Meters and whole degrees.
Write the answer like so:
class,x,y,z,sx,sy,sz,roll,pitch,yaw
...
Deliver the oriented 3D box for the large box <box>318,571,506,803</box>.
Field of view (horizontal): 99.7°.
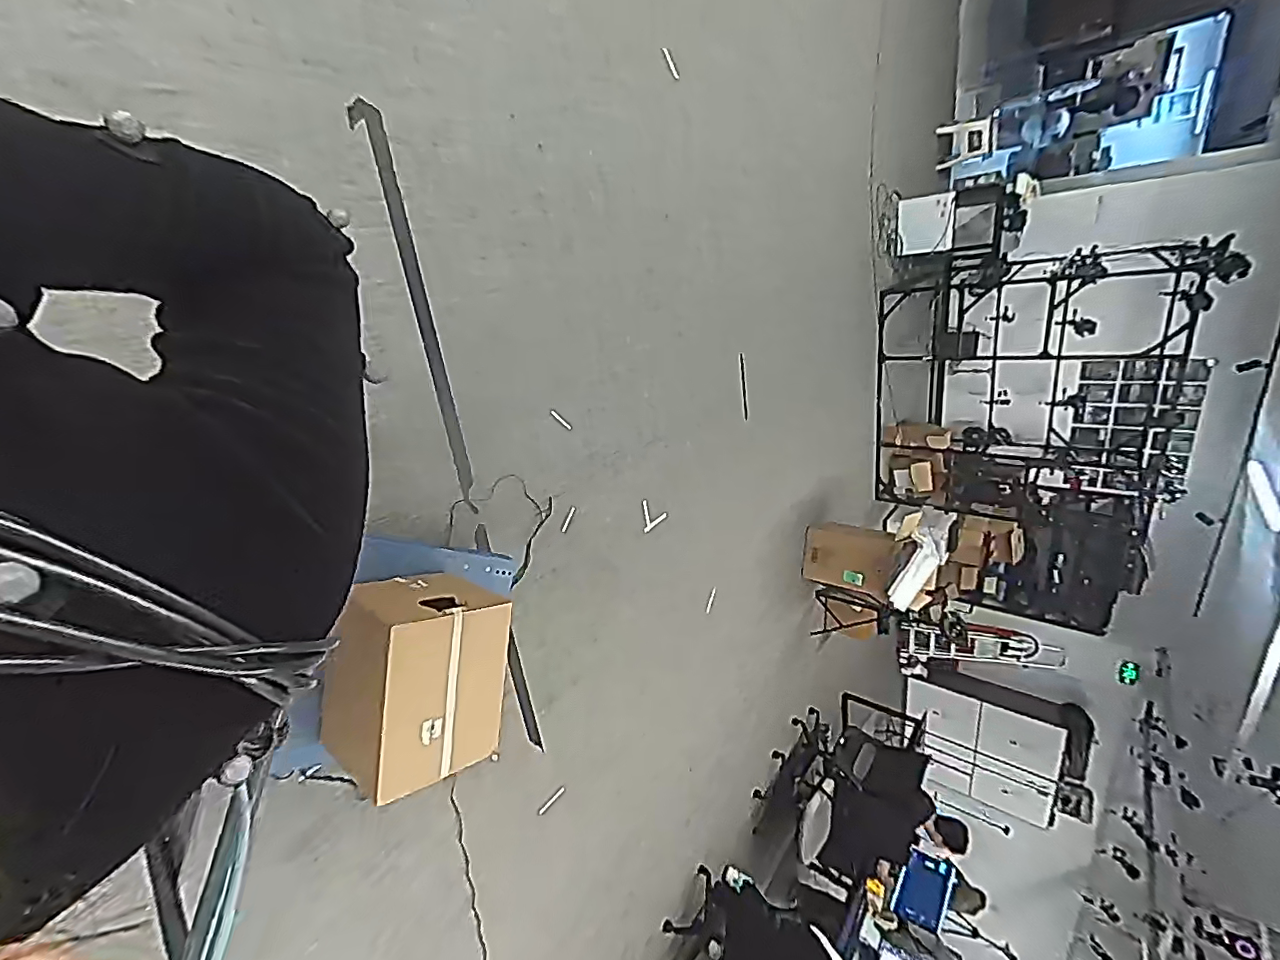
class,x,y,z,sx,sy,sz,roll,pitch,yaw
large box,-0.564,0.471,1.336,0.320,0.320,0.408,1,98,-51
